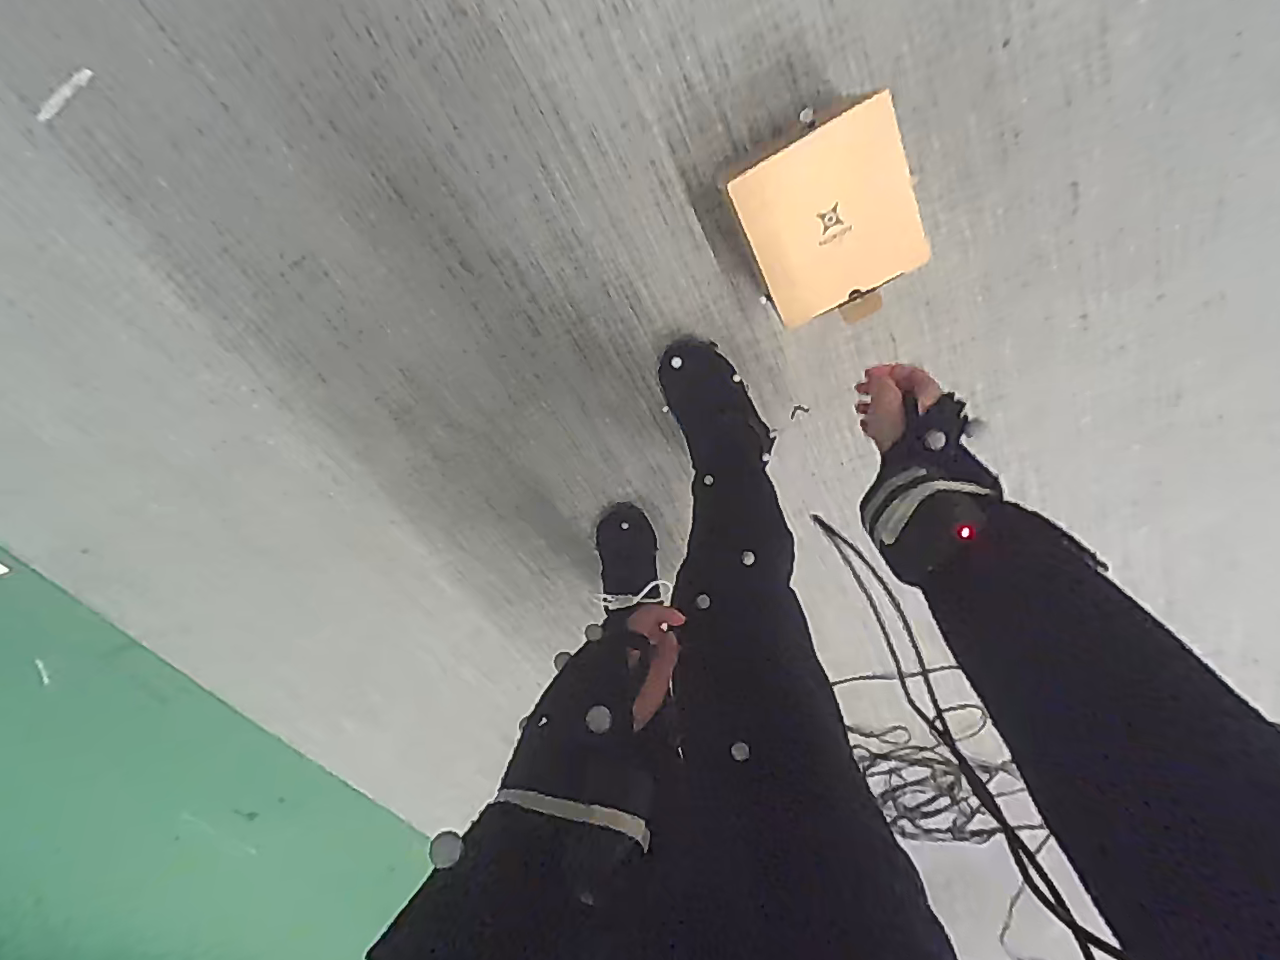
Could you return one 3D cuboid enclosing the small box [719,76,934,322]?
[{"bbox_3d":[0.201,-0.316,0.620,0.168,0.176,0.179,-24,120,17],"label":"small box"}]
